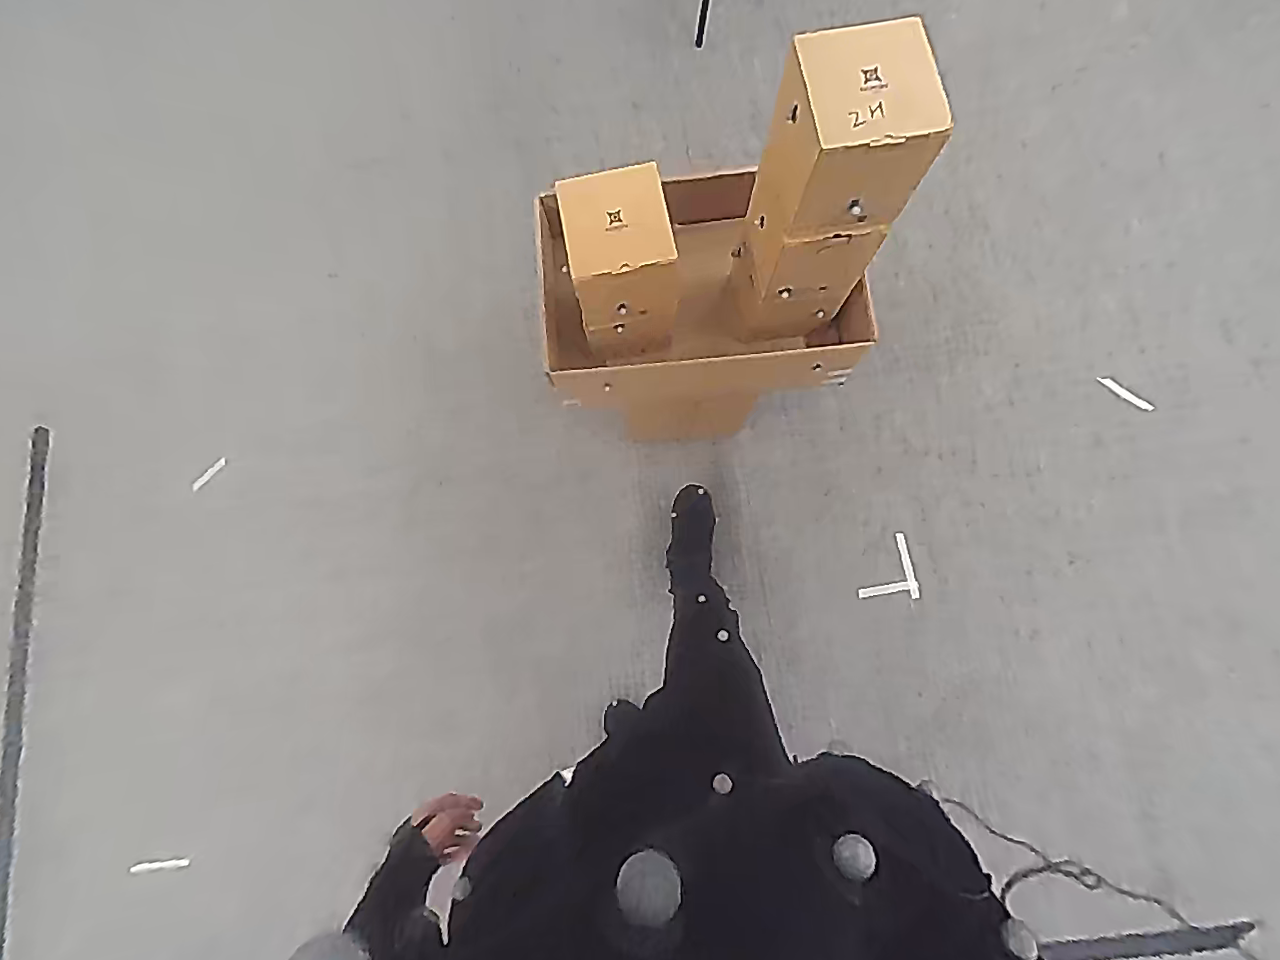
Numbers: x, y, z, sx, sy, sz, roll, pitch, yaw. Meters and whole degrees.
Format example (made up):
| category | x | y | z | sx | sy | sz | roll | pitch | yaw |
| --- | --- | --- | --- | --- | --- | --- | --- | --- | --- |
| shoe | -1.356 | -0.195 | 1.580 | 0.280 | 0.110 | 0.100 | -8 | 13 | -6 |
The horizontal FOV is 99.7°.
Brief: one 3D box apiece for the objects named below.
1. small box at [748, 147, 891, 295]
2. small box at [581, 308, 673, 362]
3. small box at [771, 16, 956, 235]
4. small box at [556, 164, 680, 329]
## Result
| category | x | y | z | sx | sy | sz | roll | pitch | yaw |
| --- | --- | --- | --- | --- | --- | --- | --- | --- | --- |
| small box | 0.285 | -0.425 | 0.896 | 0.168 | 0.176 | 0.179 | -8 | 79 | 0 |
| small box | -0.029 | -0.355 | 1.063 | 0.168 | 0.176 | 0.179 | -9 | 79 | 1 |
| small box | 0.287 | -0.470 | 0.737 | 0.168 | 0.176 | 0.179 | -9 | 80 | 0 |
| small box | -0.034 | -0.380 | 0.902 | 0.168 | 0.176 | 0.179 | -12 | 81 | 0 |
